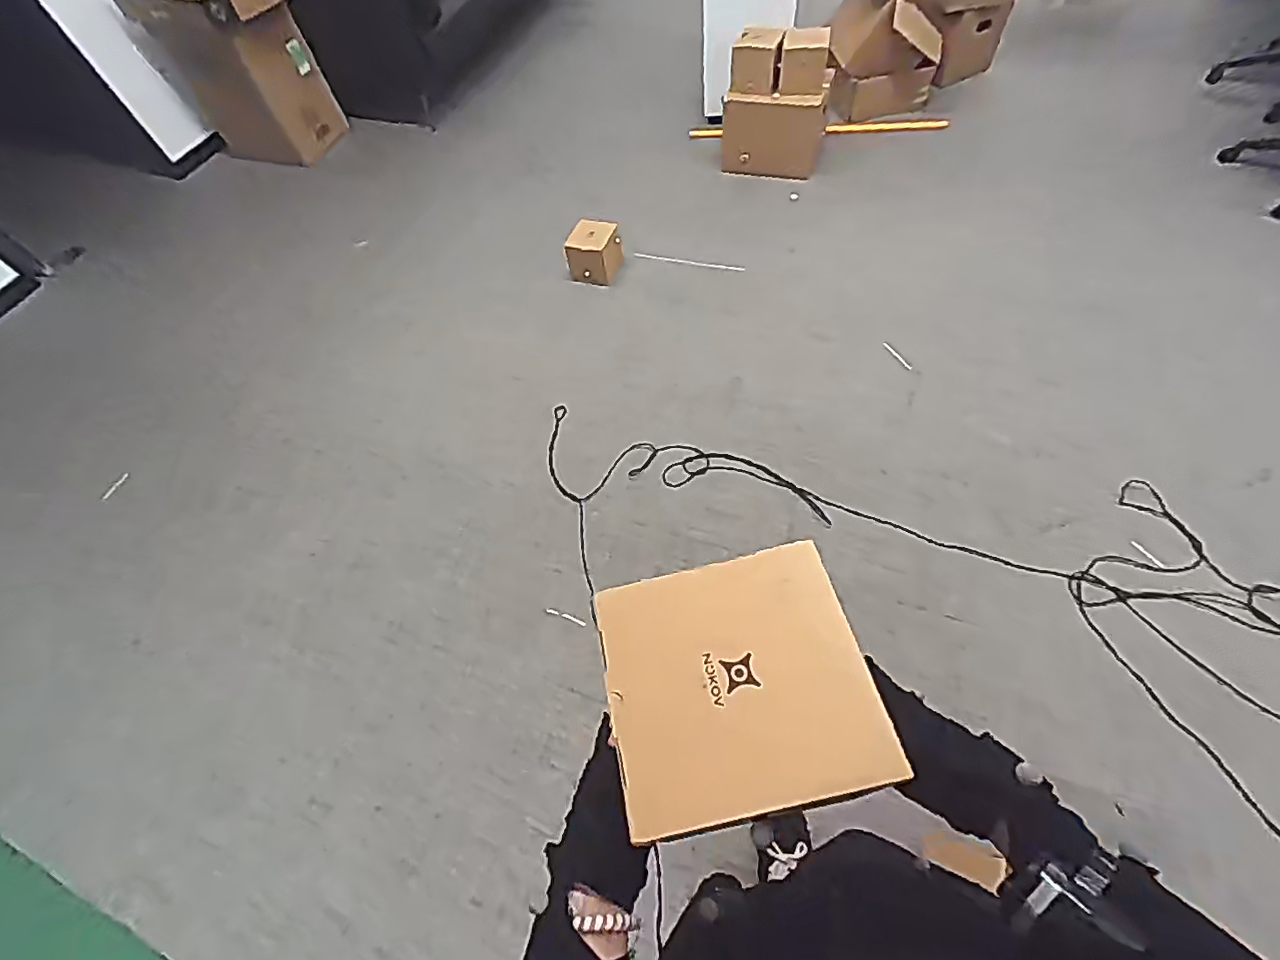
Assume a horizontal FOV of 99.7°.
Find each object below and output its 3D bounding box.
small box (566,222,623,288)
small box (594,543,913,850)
[{"bbox_3d":[-0.178,-0.915,2.198,0.168,0.176,0.179,14,61,16],"label":"small box"},{"bbox_3d":[0.076,0.174,0.429,0.179,0.176,0.168,-15,56,2],"label":"small box"}]
